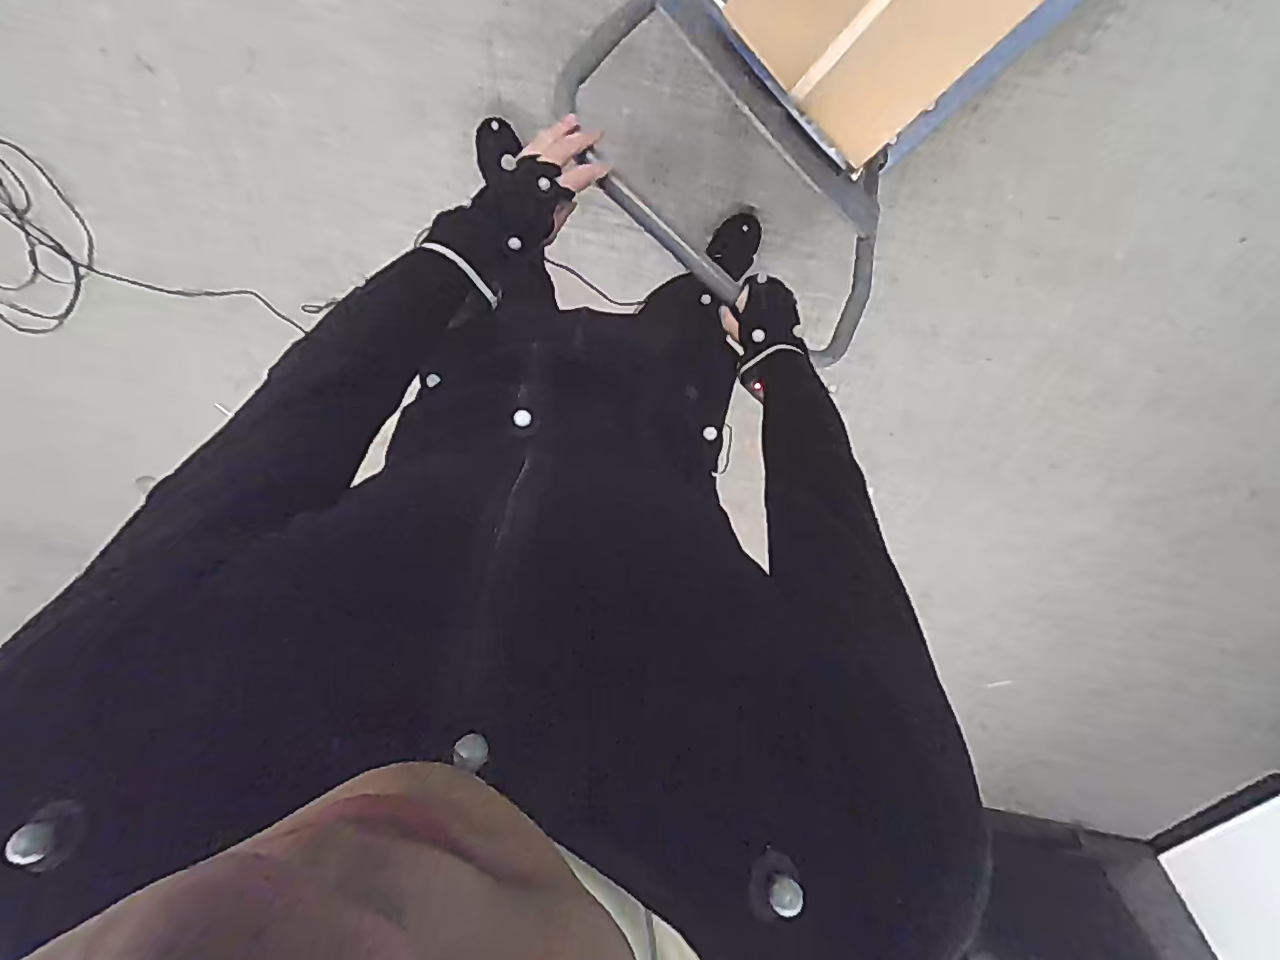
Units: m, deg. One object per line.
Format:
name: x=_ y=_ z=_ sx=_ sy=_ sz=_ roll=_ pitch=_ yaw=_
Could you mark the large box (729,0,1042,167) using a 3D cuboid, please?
large box: x=0.394 y=-0.776 z=0.788 sx=0.320 sy=0.320 sz=0.408 roll=37 pitch=137 yaw=-19
